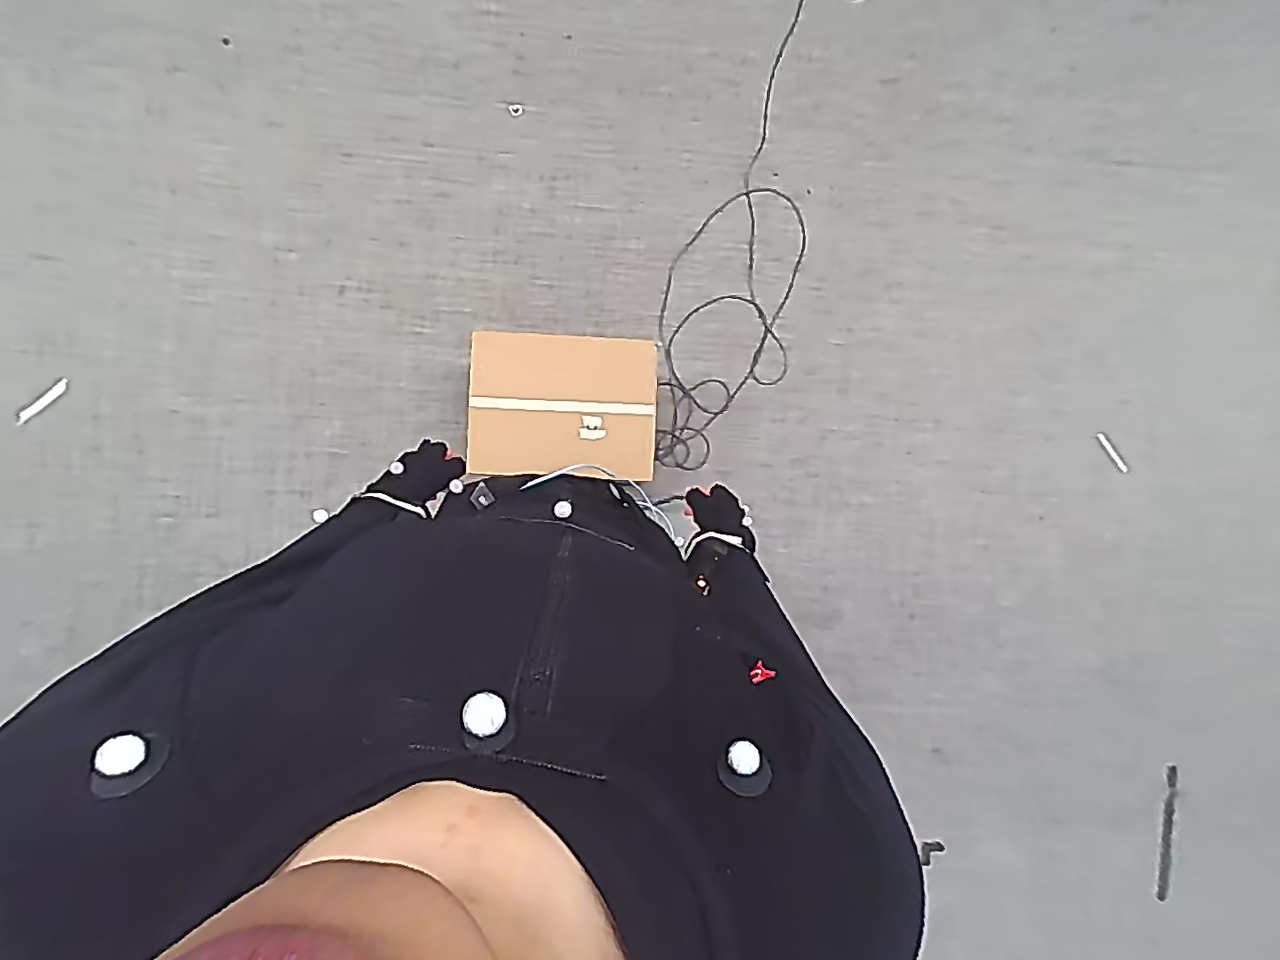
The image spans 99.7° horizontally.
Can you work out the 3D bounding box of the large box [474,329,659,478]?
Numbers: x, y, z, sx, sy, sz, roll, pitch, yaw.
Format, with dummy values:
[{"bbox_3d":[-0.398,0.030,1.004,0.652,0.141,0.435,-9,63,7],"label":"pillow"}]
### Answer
[{"bbox_3d":[-0.172,-0.167,1.336,0.408,0.320,0.320,3,90,-4],"label":"large box"}]
